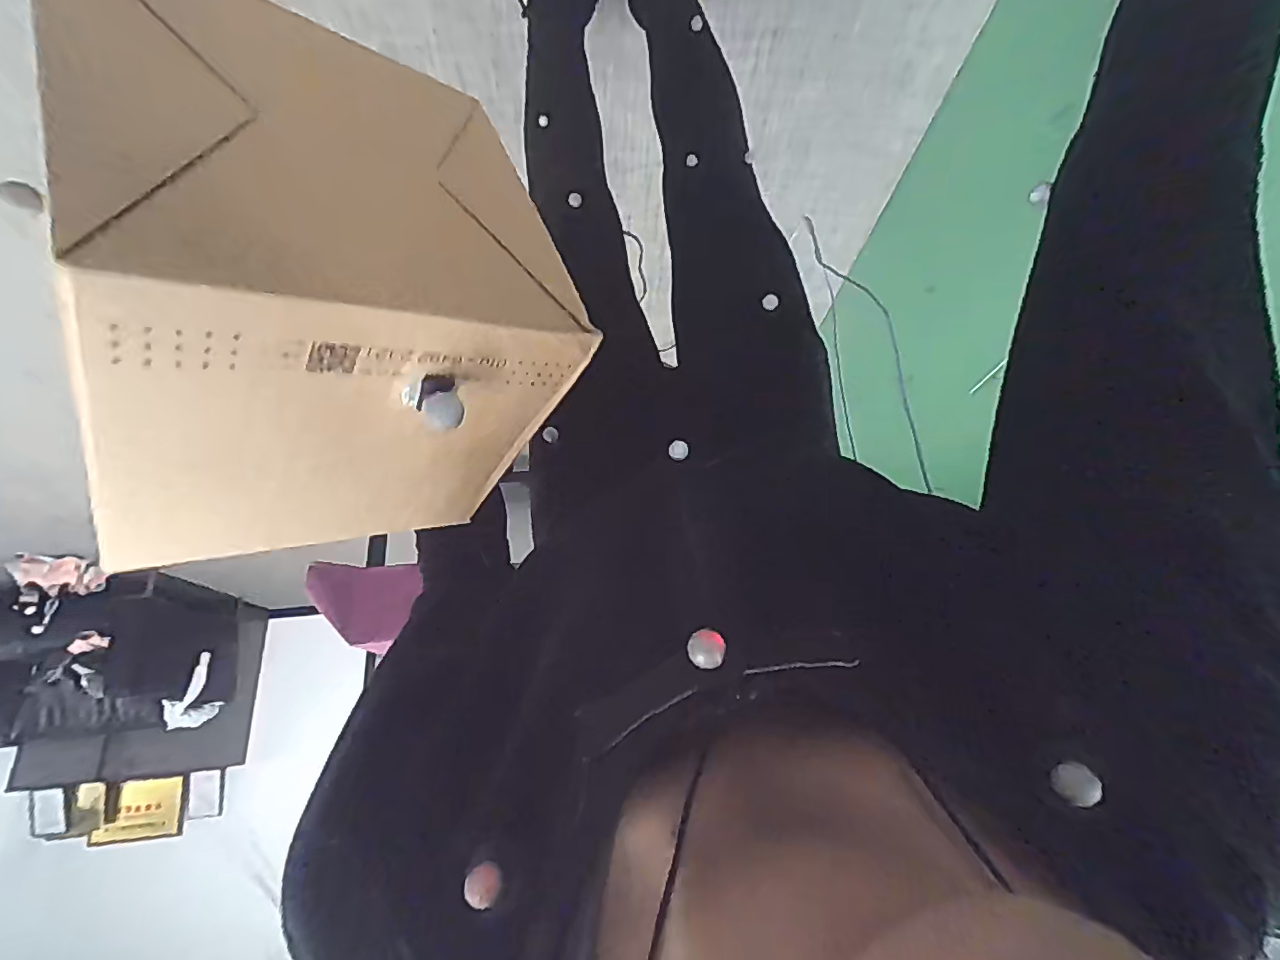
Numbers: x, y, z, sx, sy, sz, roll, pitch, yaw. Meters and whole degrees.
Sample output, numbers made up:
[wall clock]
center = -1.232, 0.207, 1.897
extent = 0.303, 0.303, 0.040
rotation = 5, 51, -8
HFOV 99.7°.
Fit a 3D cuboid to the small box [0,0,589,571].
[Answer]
[small box]
center = -0.150, -0.086, 0.244
extent = 0.168, 0.179, 0.176
rotation = -7, 153, -45
